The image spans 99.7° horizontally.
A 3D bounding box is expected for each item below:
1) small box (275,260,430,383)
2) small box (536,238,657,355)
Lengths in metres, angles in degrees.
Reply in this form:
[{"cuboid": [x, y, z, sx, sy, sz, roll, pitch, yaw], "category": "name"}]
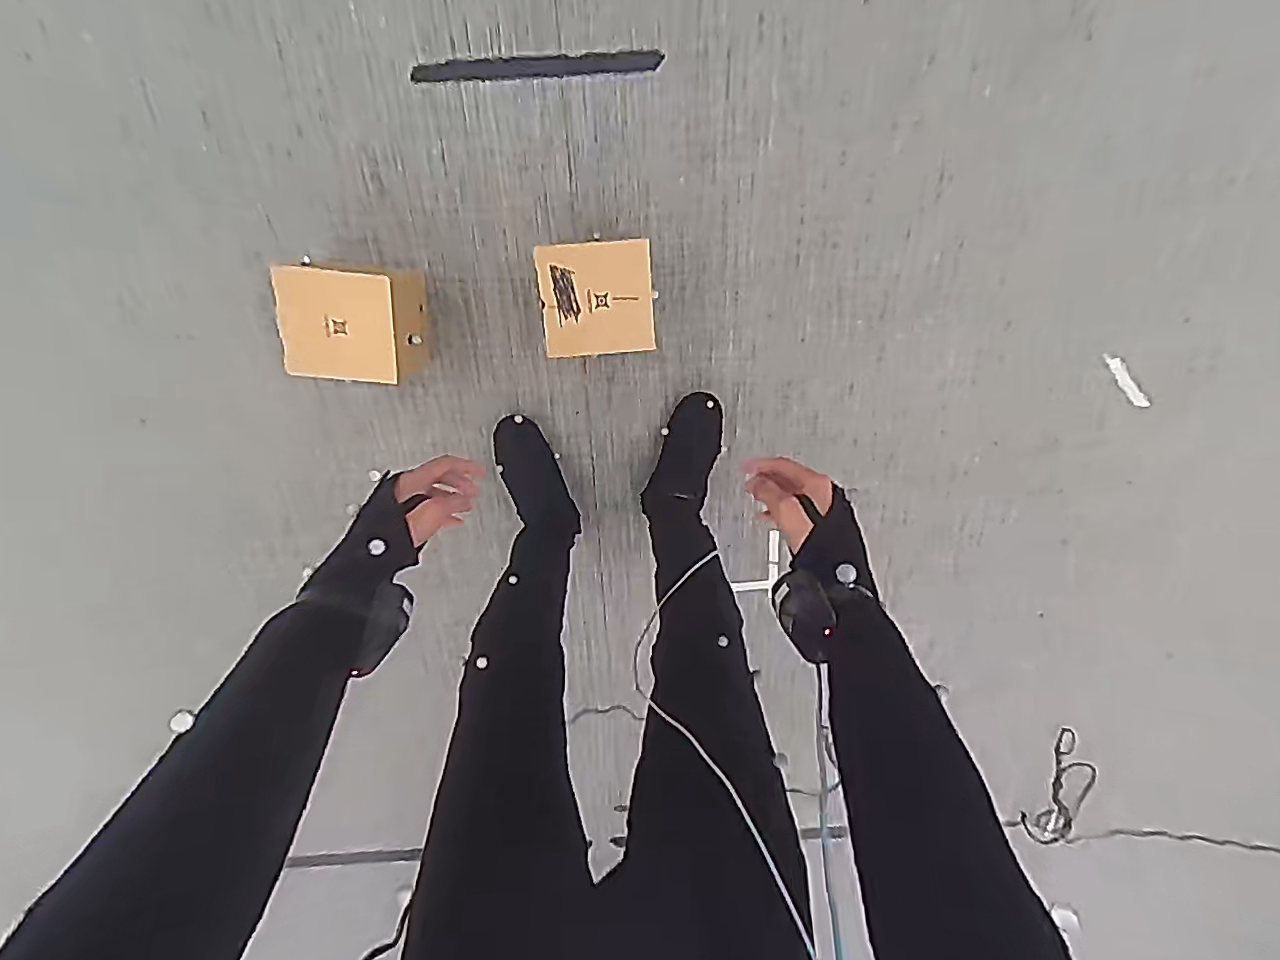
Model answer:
[{"cuboid": [-0.460, -0.270, 0.901, 0.179, 0.176, 0.168, 5, 114, -3], "category": "small box"}, {"cuboid": [-0.066, -0.307, 0.899, 0.179, 0.176, 0.168, -4, 114, -1], "category": "small box"}]
